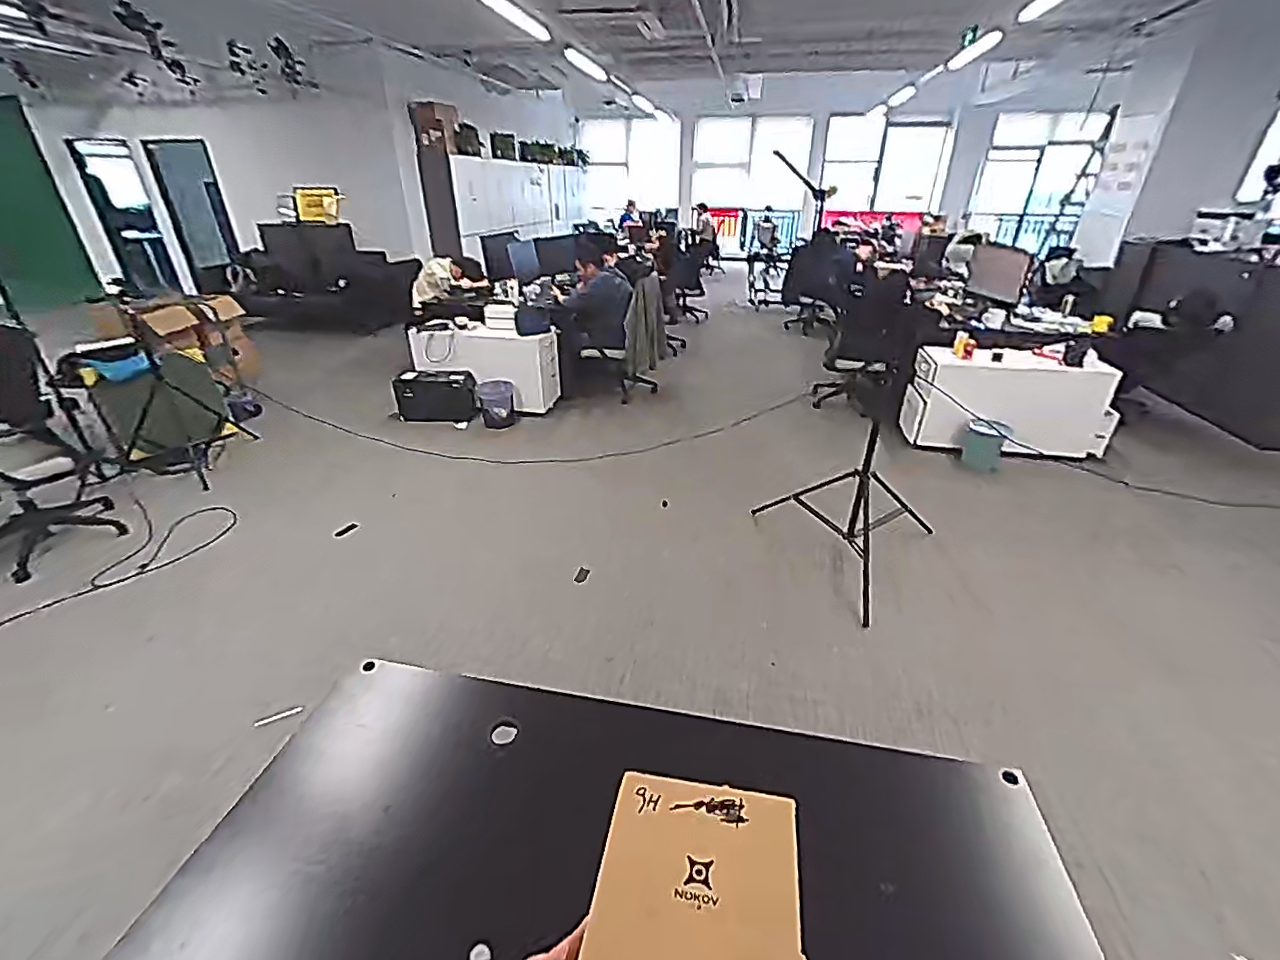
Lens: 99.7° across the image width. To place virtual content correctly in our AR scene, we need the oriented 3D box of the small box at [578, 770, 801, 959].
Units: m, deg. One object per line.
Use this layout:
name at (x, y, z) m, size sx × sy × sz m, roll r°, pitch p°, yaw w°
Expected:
small box at (0.051, 0.399, 0.477) m, size 0.168 × 0.176 × 0.179 m, roll 3°, pitch 30°, yaw 11°
